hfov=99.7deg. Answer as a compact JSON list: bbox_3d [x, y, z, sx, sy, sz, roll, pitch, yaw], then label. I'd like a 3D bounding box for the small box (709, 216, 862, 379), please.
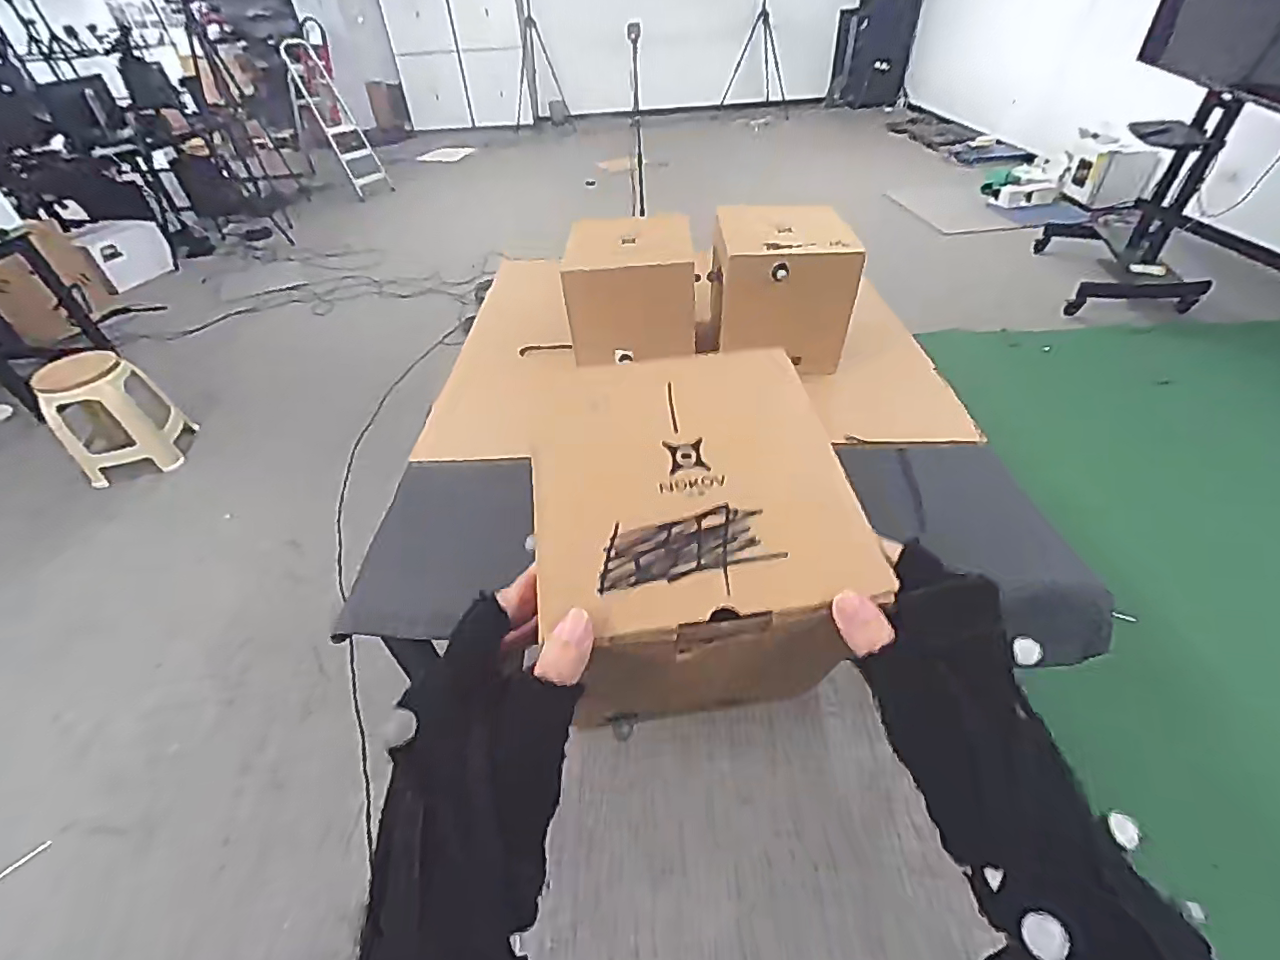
[{"bbox_3d":[0.190,-0.260,0.765,0.168,0.176,0.179,0,42,2],"label":"small box"}]

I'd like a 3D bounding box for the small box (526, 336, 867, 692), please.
[{"bbox_3d":[0.020,0.030,0.365,0.168,0.176,0.179,-6,53,-5],"label":"small box"}]

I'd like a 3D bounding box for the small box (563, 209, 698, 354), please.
[{"bbox_3d":[-0.006,-0.262,0.763,0.168,0.176,0.179,-3,44,3],"label":"small box"}]
